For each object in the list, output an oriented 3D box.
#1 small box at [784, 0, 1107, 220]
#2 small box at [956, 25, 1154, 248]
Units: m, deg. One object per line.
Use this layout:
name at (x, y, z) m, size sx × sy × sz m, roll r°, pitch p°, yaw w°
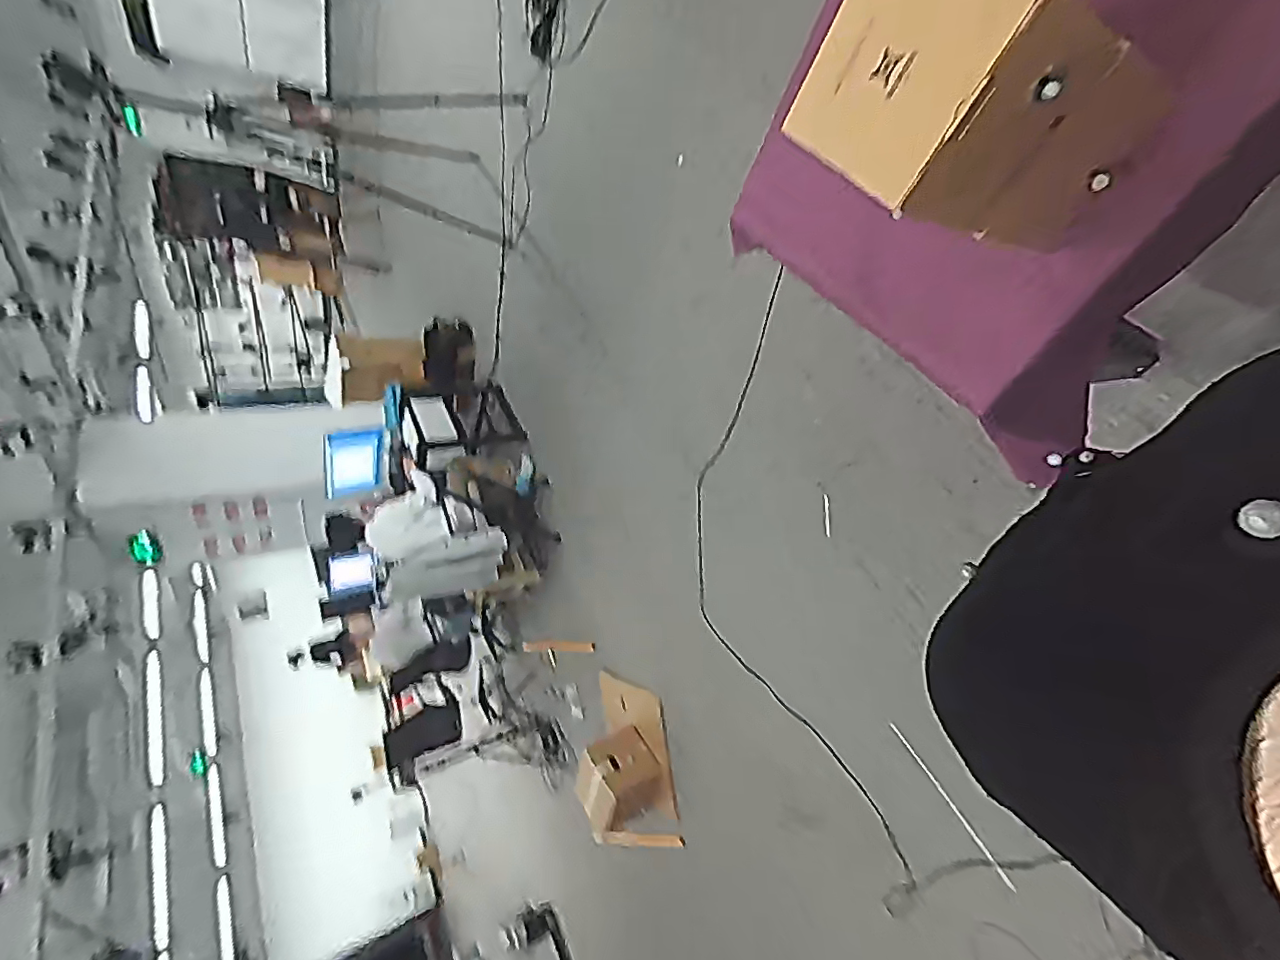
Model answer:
small box at (0.283, -0.371, 0.517) m, size 0.179 × 0.176 × 0.168 m, roll 59°, pitch 140°, yaw 29°
small box at (0.419, -0.389, 0.608) m, size 0.168 × 0.176 × 0.179 m, roll 58°, pitch 139°, yaw 30°
